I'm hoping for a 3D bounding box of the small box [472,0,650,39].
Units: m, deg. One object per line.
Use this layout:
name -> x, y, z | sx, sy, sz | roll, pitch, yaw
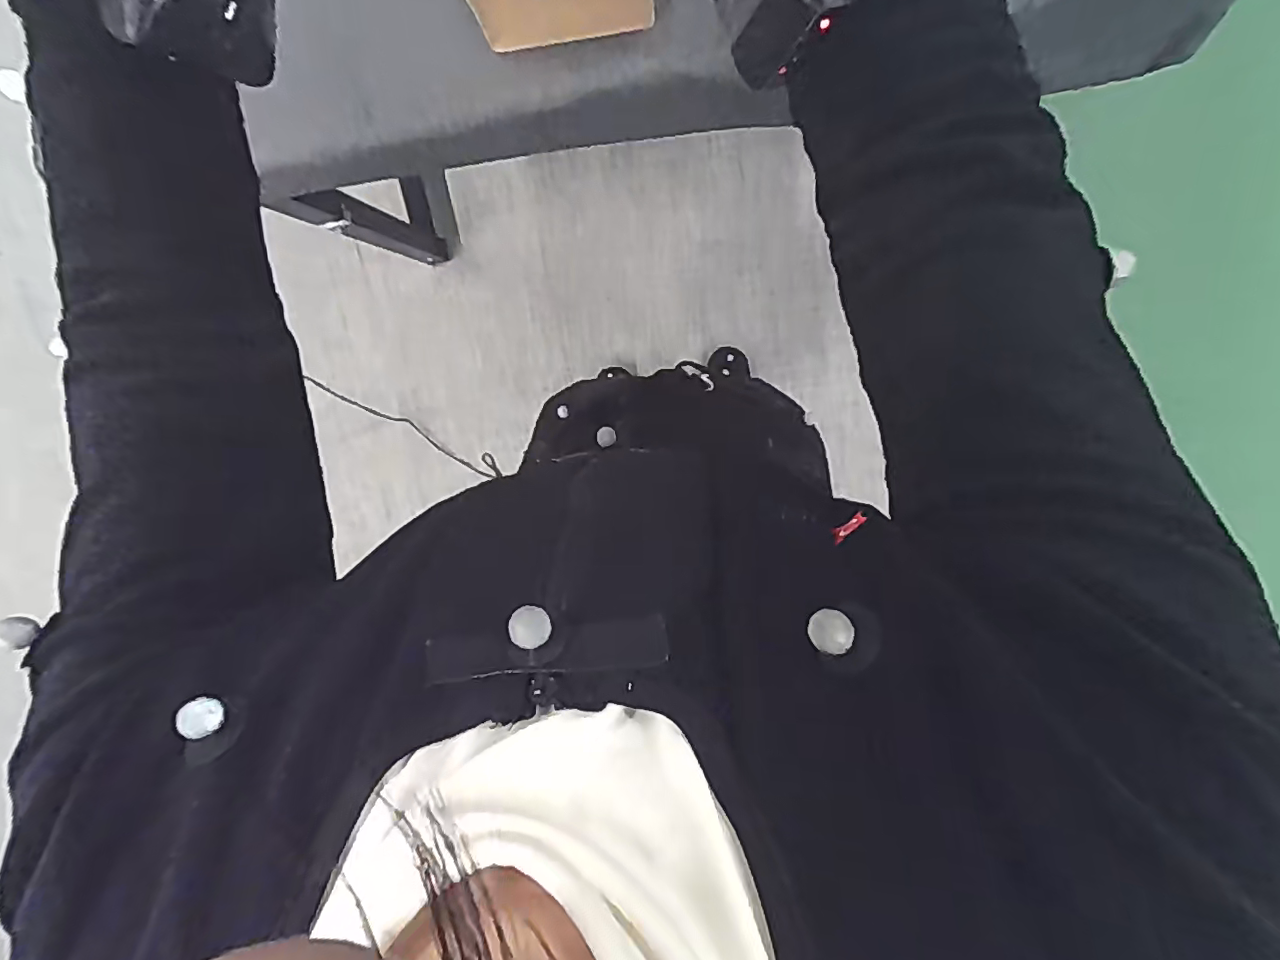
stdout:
small box -> -0.088, -0.536, 0.481 | 0.179, 0.176, 0.168 | -6, 102, 4
